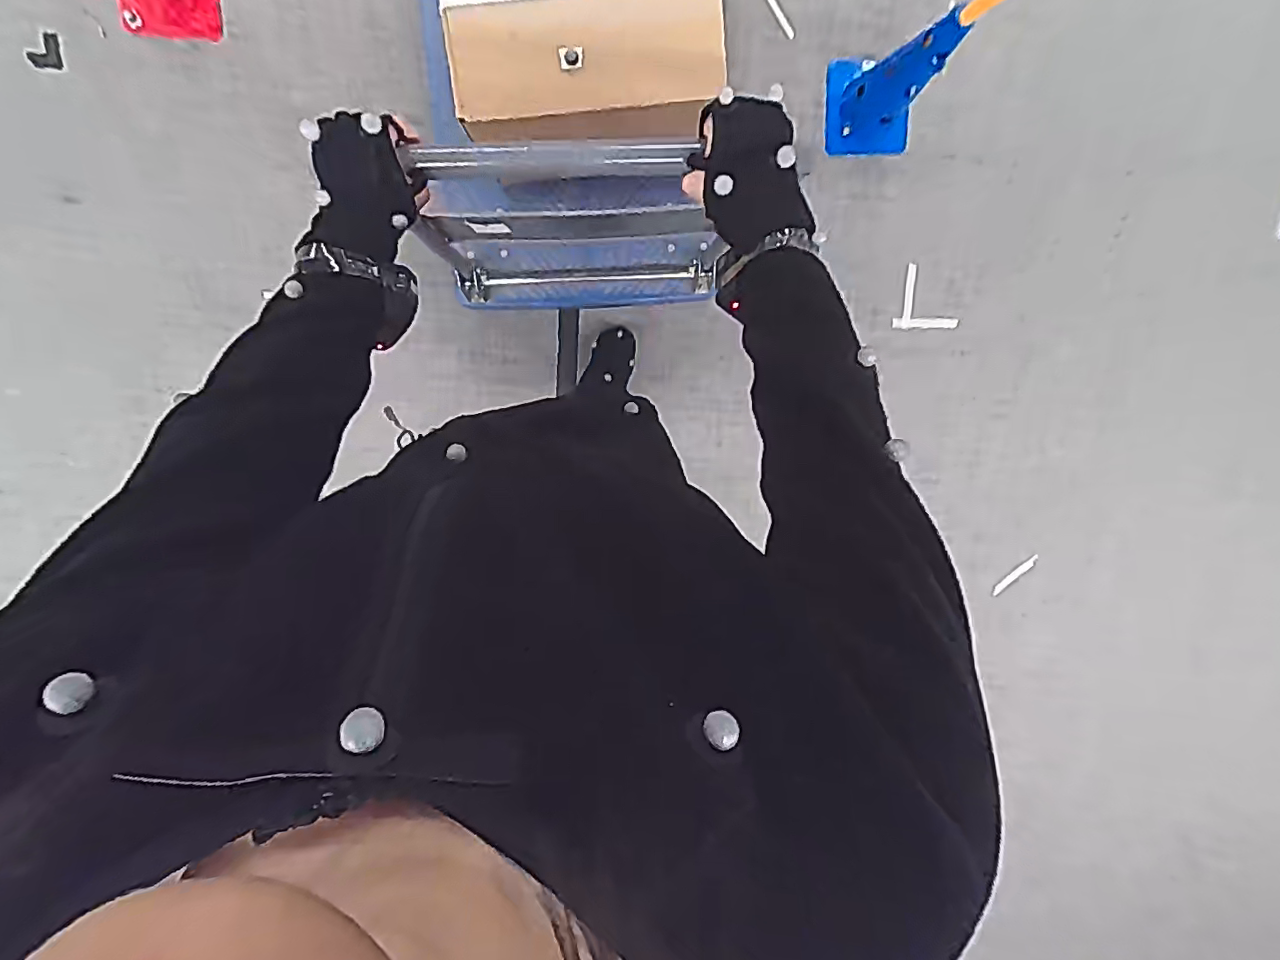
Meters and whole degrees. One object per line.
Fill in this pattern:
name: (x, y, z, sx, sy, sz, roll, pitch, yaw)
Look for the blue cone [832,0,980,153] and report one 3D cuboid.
blue cone: (0.556, -0.841, 1.111, 0.193, 0.380, 0.192, -2, 102, -4)
